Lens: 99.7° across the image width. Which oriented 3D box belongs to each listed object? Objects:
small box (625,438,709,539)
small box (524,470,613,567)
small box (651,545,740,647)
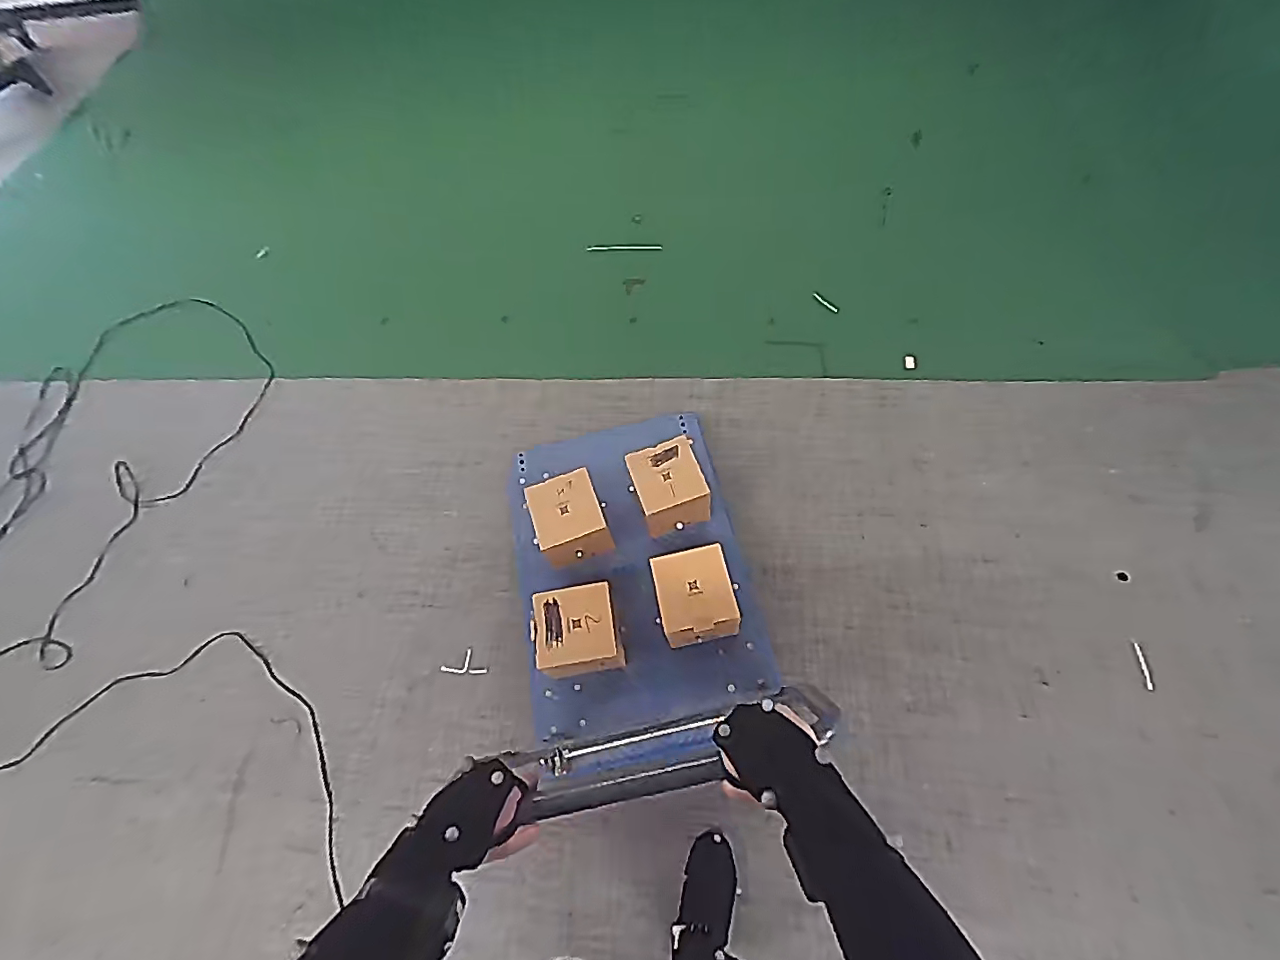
[{"bbox_3d":[0.070,0.026,1.389,0.168,0.176,0.179,-19,64,-3],"label":"small box"},{"bbox_3d":[-0.177,0.107,1.375,0.168,0.176,0.179,-19,63,-5],"label":"small box"},{"bbox_3d":[0.125,0.275,1.260,0.168,0.176,0.179,-13,64,0],"label":"small box"}]
